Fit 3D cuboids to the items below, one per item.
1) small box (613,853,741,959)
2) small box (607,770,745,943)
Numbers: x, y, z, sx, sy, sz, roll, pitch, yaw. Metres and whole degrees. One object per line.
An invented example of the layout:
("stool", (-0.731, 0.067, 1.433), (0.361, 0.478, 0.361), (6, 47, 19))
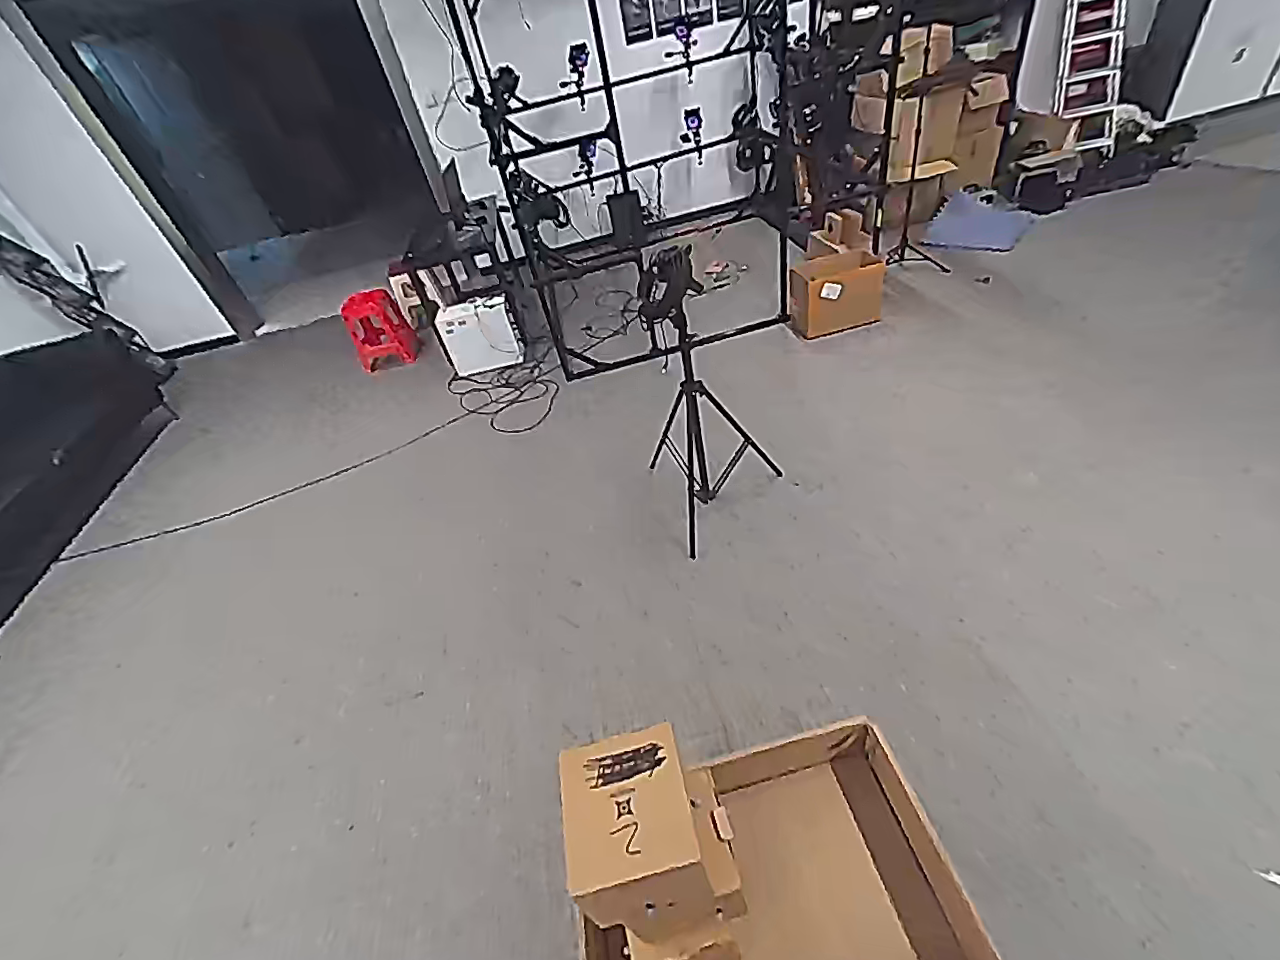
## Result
("small box", (0.065, 0.734, 0.938), (0.168, 0.176, 0.179), (-19, 41, -4))
("small box", (0.059, 0.591, 0.850), (0.179, 0.176, 0.168), (-15, 40, -1))
